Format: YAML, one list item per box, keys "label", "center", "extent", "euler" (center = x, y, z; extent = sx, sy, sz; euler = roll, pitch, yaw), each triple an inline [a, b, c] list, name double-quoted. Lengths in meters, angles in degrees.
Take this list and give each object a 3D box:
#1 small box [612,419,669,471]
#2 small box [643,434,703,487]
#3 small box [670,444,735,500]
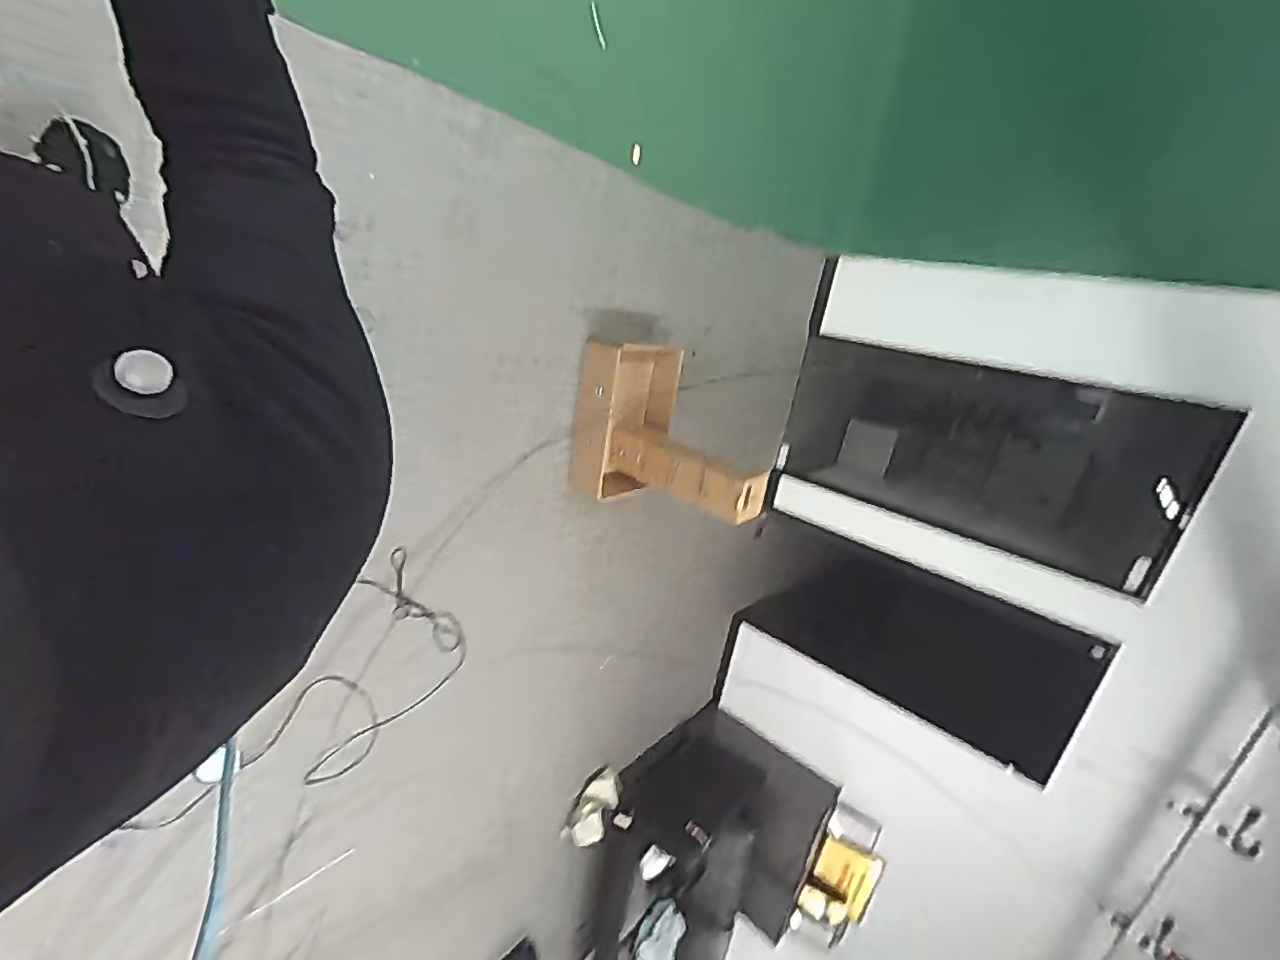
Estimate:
- label: "small box"
  center: [-0.001, -0.153, 2.303]
  extent: [0.179, 0.176, 0.168]
  euler: [-20, 122, -46]
- label: "small box"
  center: [0.134, -0.083, 2.203]
  extent: [0.179, 0.176, 0.168]
  euler: [-14, 119, -48]
- label: "small box"
  center: [0.240, -0.037, 2.112]
  extent: [0.179, 0.176, 0.168]
  euler: [-13, 119, -49]
